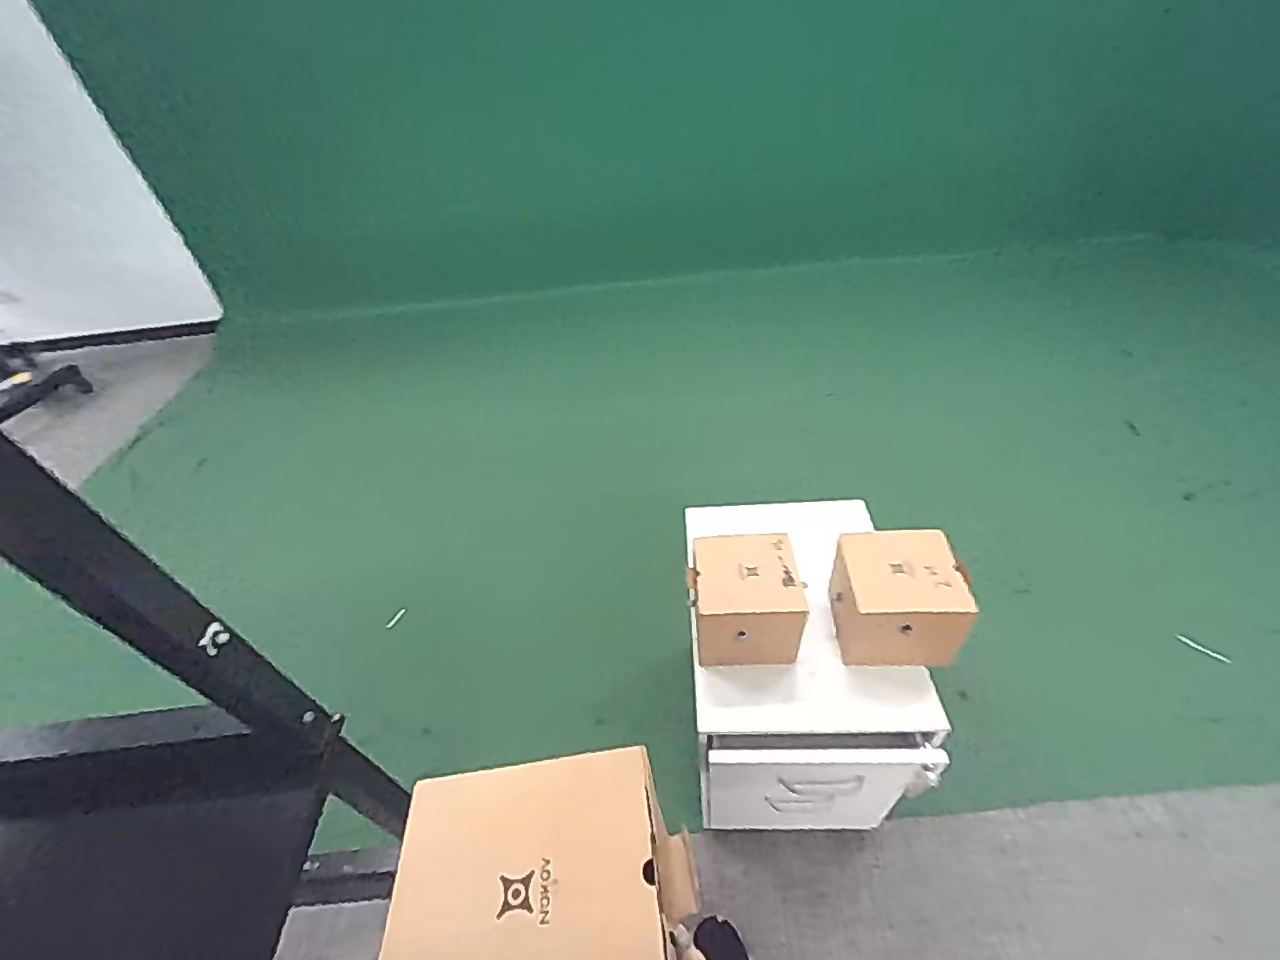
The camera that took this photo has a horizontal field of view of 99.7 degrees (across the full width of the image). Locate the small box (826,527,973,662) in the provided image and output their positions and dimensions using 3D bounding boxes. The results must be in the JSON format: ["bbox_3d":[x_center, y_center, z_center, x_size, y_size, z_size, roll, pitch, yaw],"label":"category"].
[{"bbox_3d":[0.426,0.198,0.926,0.179,0.176,0.168,-2,44,6],"label":"small box"}]

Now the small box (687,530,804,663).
[{"bbox_3d":[0.177,0.207,0.951,0.179,0.176,0.168,-3,43,3],"label":"small box"}]
